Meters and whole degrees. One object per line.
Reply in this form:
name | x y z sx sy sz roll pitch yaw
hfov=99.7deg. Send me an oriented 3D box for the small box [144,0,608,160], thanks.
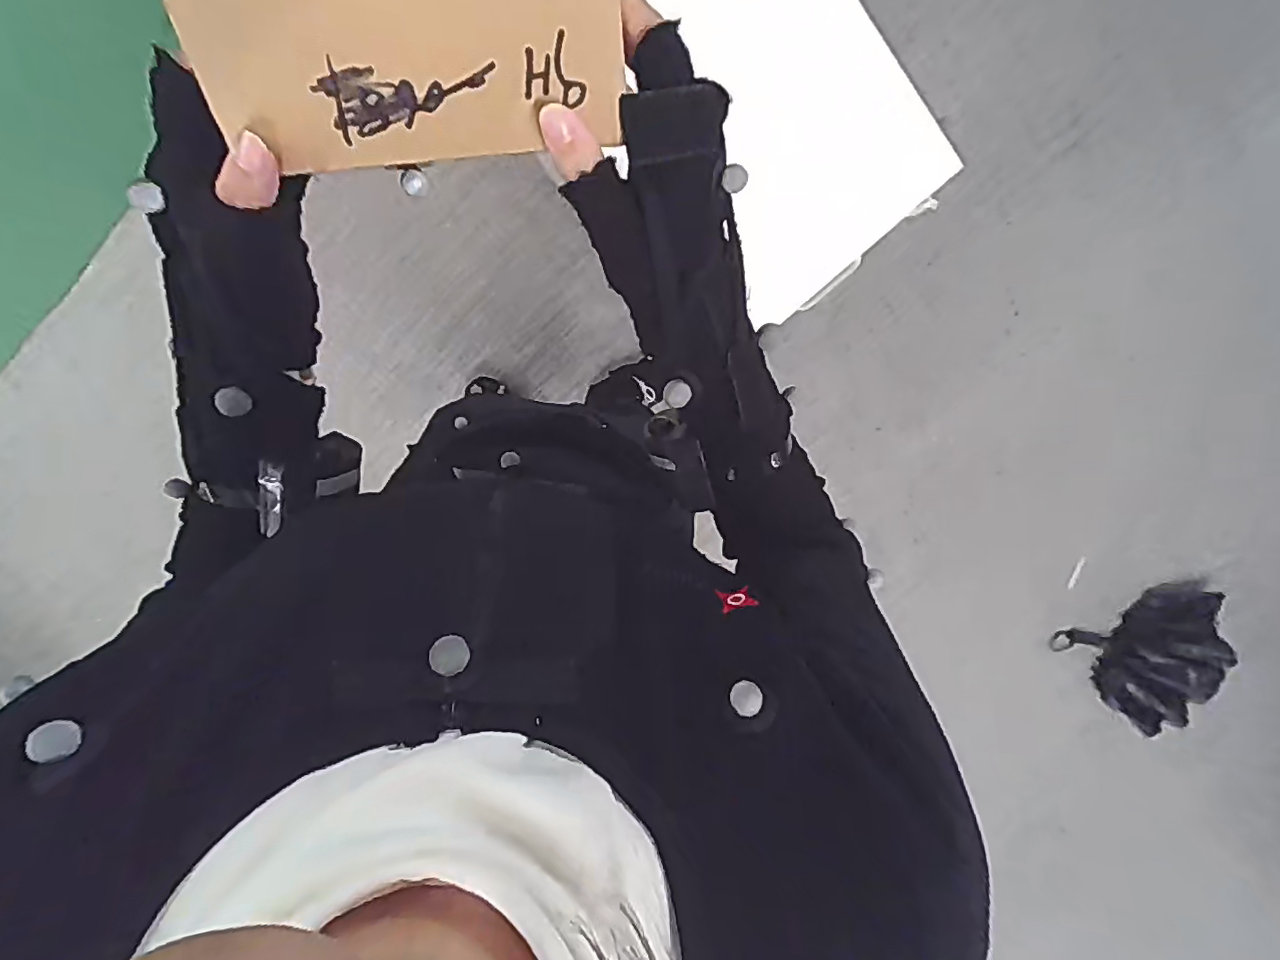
small box | -0.106 -0.257 0.244 0.168 0.176 0.179 -5 126 0
